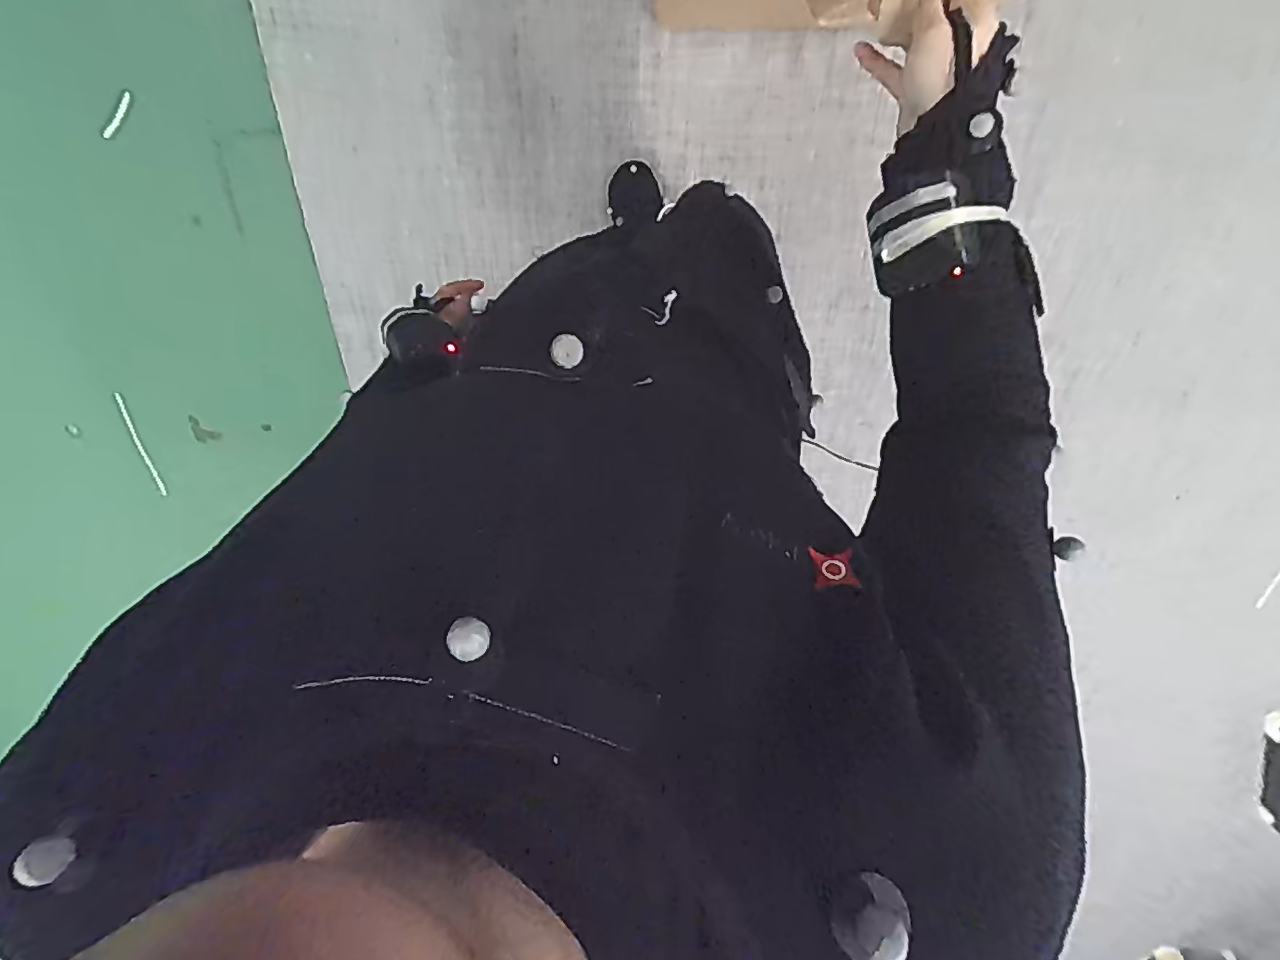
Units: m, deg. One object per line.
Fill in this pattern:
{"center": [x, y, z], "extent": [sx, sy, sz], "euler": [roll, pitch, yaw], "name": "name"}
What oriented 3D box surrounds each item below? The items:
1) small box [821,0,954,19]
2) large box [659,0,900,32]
{"center": [0.201, -0.446, 0.357], "extent": [0.168, 0.176, 0.179], "euler": [8, 121, 21], "name": "small box"}
{"center": [0.225, -0.875, 0.774], "extent": [0.408, 0.320, 0.320], "euler": [1, 121, 2], "name": "large box"}
